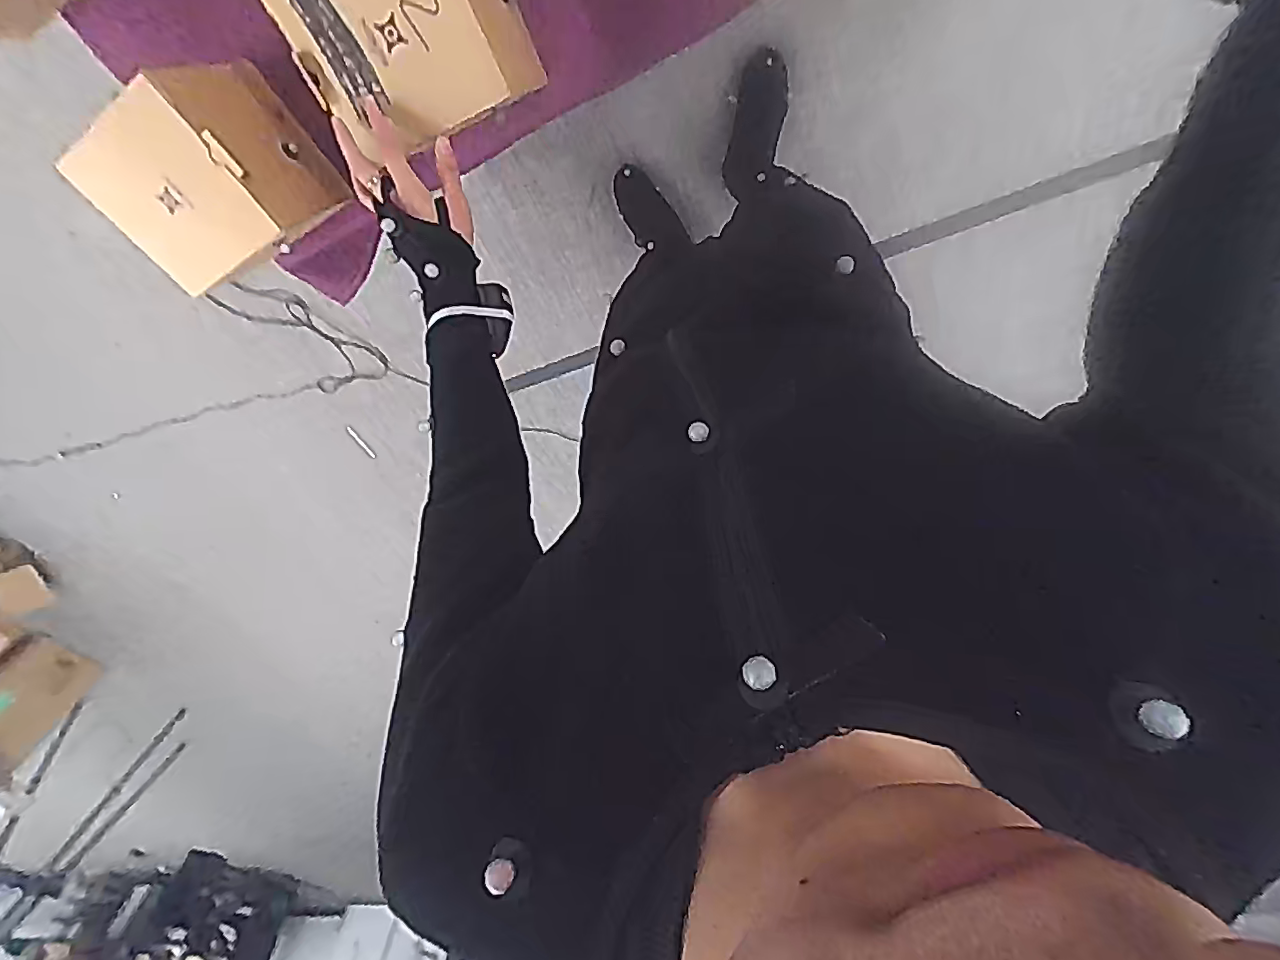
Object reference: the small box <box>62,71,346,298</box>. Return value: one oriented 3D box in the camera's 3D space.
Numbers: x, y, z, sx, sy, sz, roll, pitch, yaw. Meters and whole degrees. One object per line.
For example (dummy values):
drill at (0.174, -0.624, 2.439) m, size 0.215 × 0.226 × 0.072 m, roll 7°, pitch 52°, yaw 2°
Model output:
small box at (-0.505, -0.357, 0.655) m, size 0.179 × 0.176 × 0.168 m, roll -21°, pitch 124°, yaw 21°
